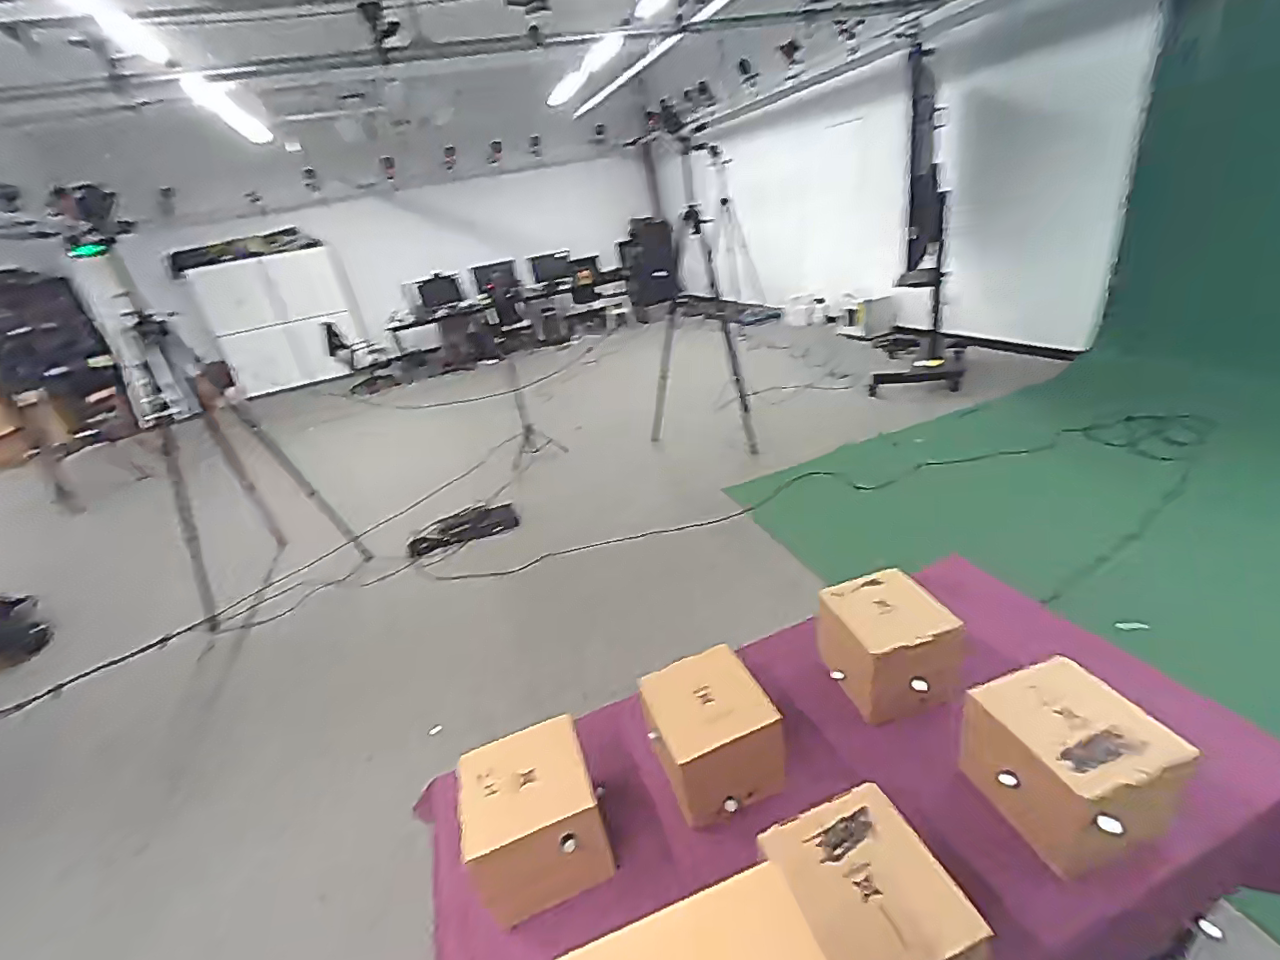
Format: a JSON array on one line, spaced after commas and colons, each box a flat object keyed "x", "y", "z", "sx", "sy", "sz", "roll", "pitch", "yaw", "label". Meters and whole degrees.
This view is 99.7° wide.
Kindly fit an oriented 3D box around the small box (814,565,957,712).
[{"x": 0.433, "y": 0.287, "z": 0.974, "sx": 0.168, "sy": 0.176, "sz": 0.179, "roll": -15, "pitch": 27, "yaw": -8, "label": "small box"}]

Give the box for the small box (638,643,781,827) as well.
[{"x": 0.111, "y": 0.407, "z": 0.876, "sx": 0.168, "sy": 0.176, "sz": 0.179, "roll": -19, "pitch": 28, "yaw": -13, "label": "small box"}]

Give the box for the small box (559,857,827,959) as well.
[{"x": 0.055, "y": 0.398, "z": 0.343, "sx": 0.168, "sy": 0.176, "sz": 0.179, "roll": -15, "pitch": 32, "yaw": -13, "label": "small box"}]

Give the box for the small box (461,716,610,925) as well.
[{"x": -0.151, "y": 0.497, "z": 0.801, "sx": 0.179, "sy": 0.176, "sz": 0.168, "roll": -18, "pitch": 27, "yaw": -13, "label": "small box"}]

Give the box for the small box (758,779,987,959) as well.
[{"x": 0.255, "y": 0.501, "z": 0.623, "sx": 0.168, "sy": 0.176, "sz": 0.179, "roll": -18, "pitch": 27, "yaw": -12, "label": "small box"}]
